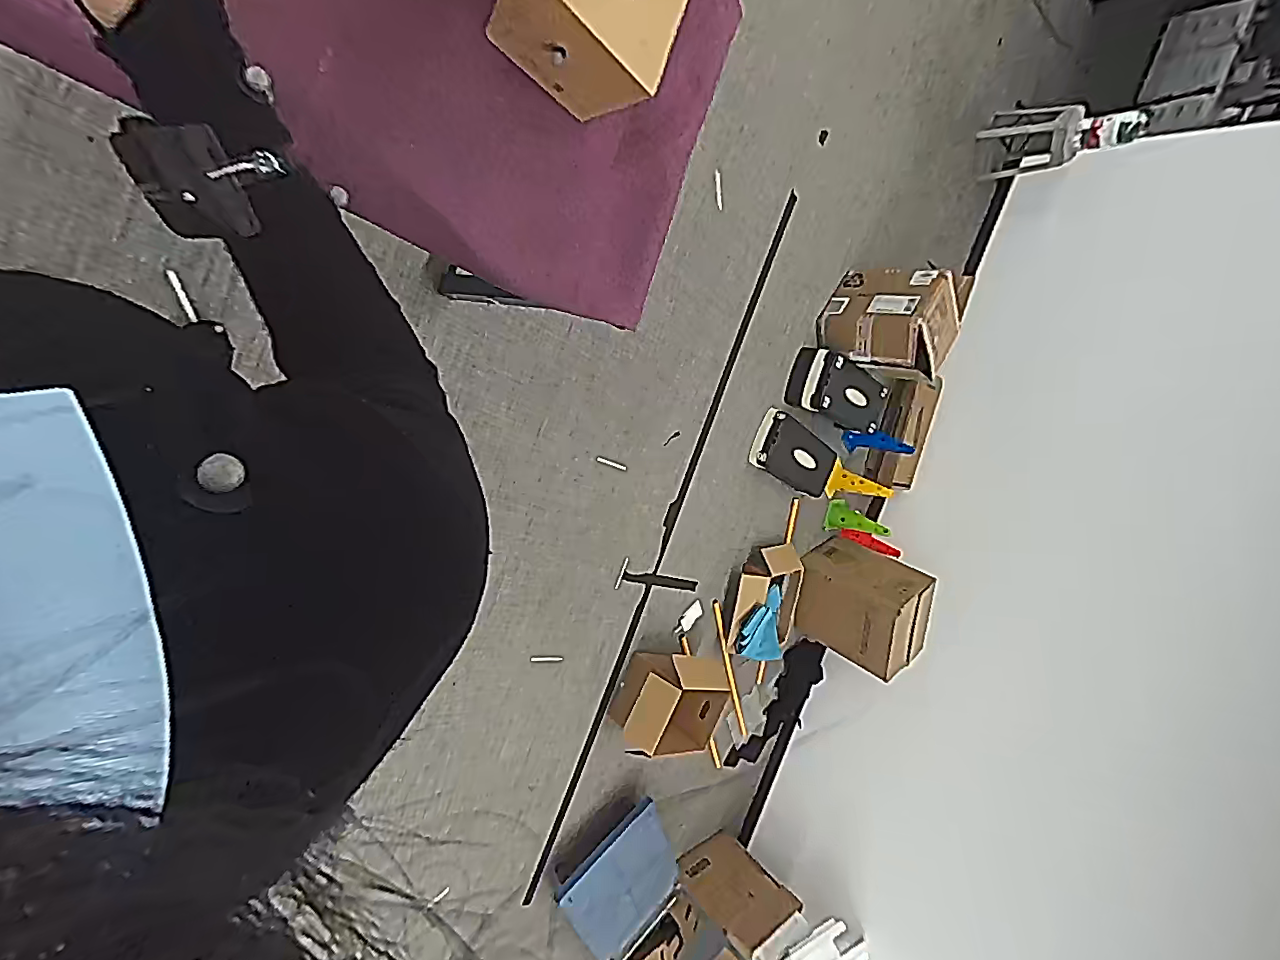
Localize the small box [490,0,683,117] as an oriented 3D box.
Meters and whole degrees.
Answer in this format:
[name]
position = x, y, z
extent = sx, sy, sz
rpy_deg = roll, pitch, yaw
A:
[small box]
position = -0.069, -0.613, 0.697
extent = 0.168, 0.176, 0.179
rpy_deg = 18, 93, -45
